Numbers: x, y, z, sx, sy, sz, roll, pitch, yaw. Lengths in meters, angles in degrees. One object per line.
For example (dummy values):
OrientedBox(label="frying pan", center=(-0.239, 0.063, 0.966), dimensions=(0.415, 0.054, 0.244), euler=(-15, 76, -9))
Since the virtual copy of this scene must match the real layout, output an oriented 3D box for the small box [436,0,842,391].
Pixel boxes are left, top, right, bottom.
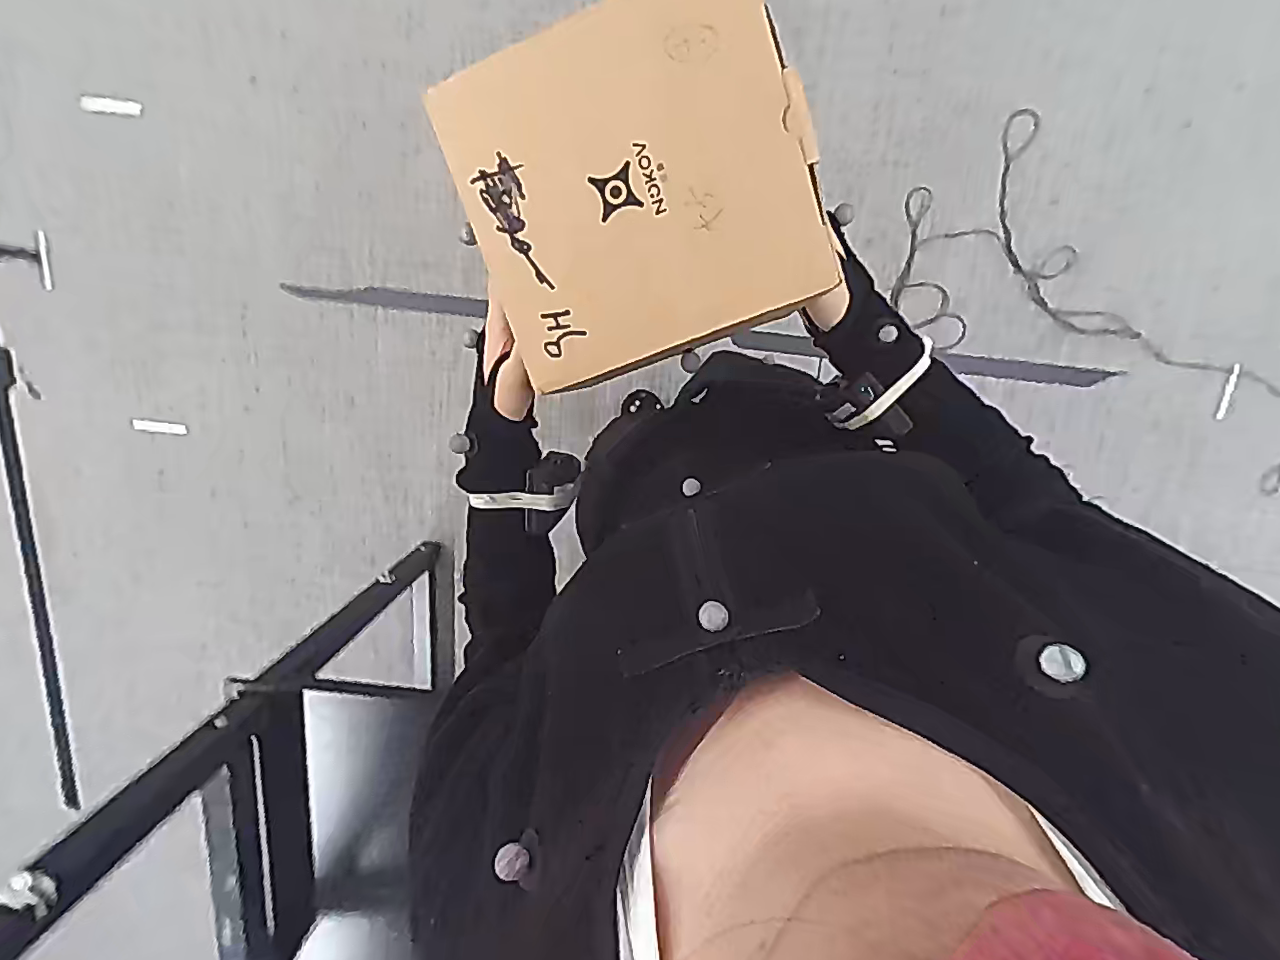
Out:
OrientedBox(label="small box", center=(0.005, -0.165, 0.356), dimensions=(0.179, 0.176, 0.168), euler=(-17, 99, 7))
